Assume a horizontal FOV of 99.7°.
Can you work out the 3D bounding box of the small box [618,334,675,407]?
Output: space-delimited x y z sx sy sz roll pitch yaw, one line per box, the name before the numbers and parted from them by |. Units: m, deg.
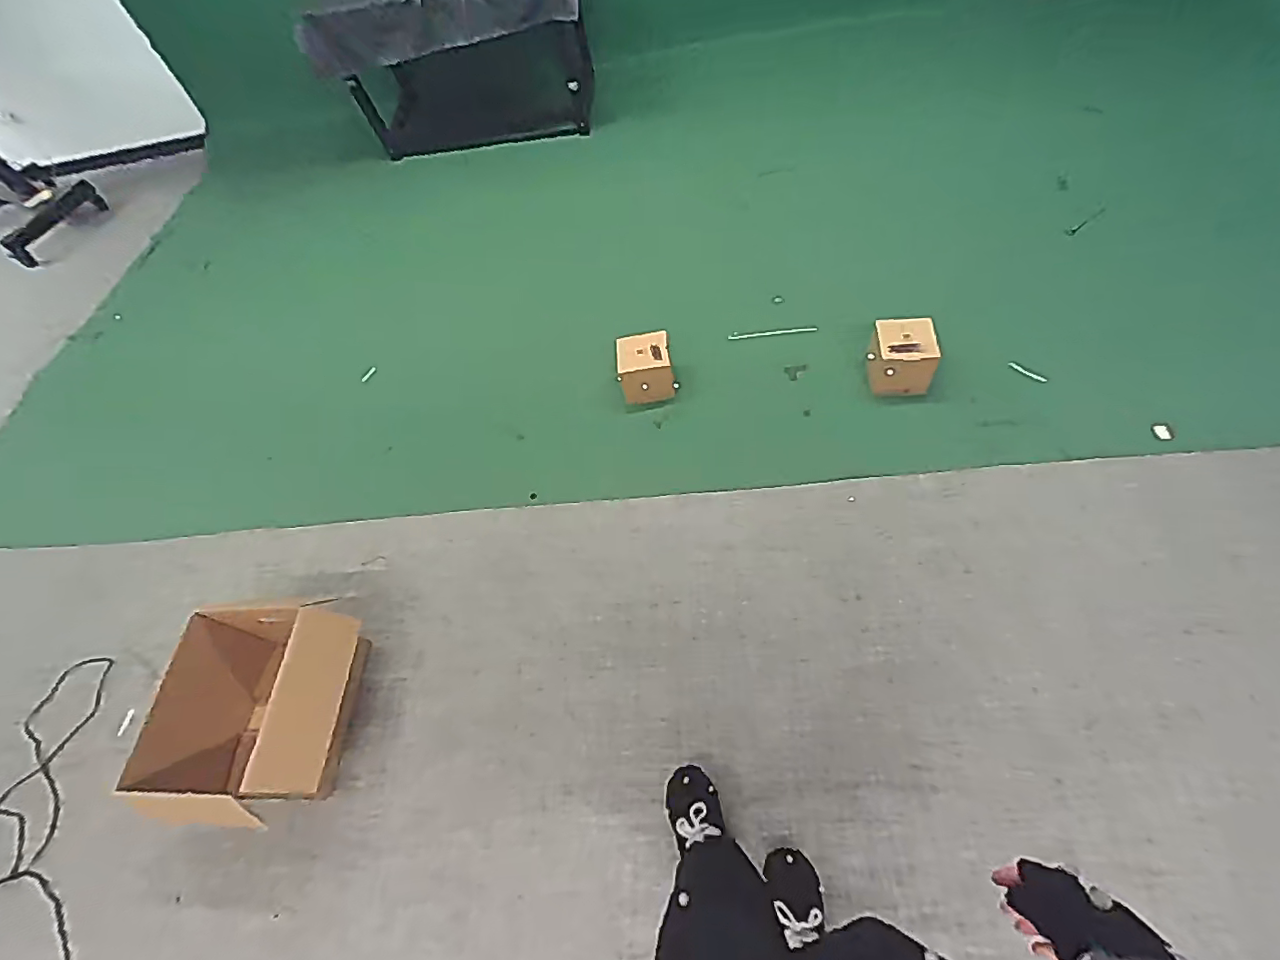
small box | 0.025 -0.376 1.875 0.179 0.176 0.168 -8 57 7
